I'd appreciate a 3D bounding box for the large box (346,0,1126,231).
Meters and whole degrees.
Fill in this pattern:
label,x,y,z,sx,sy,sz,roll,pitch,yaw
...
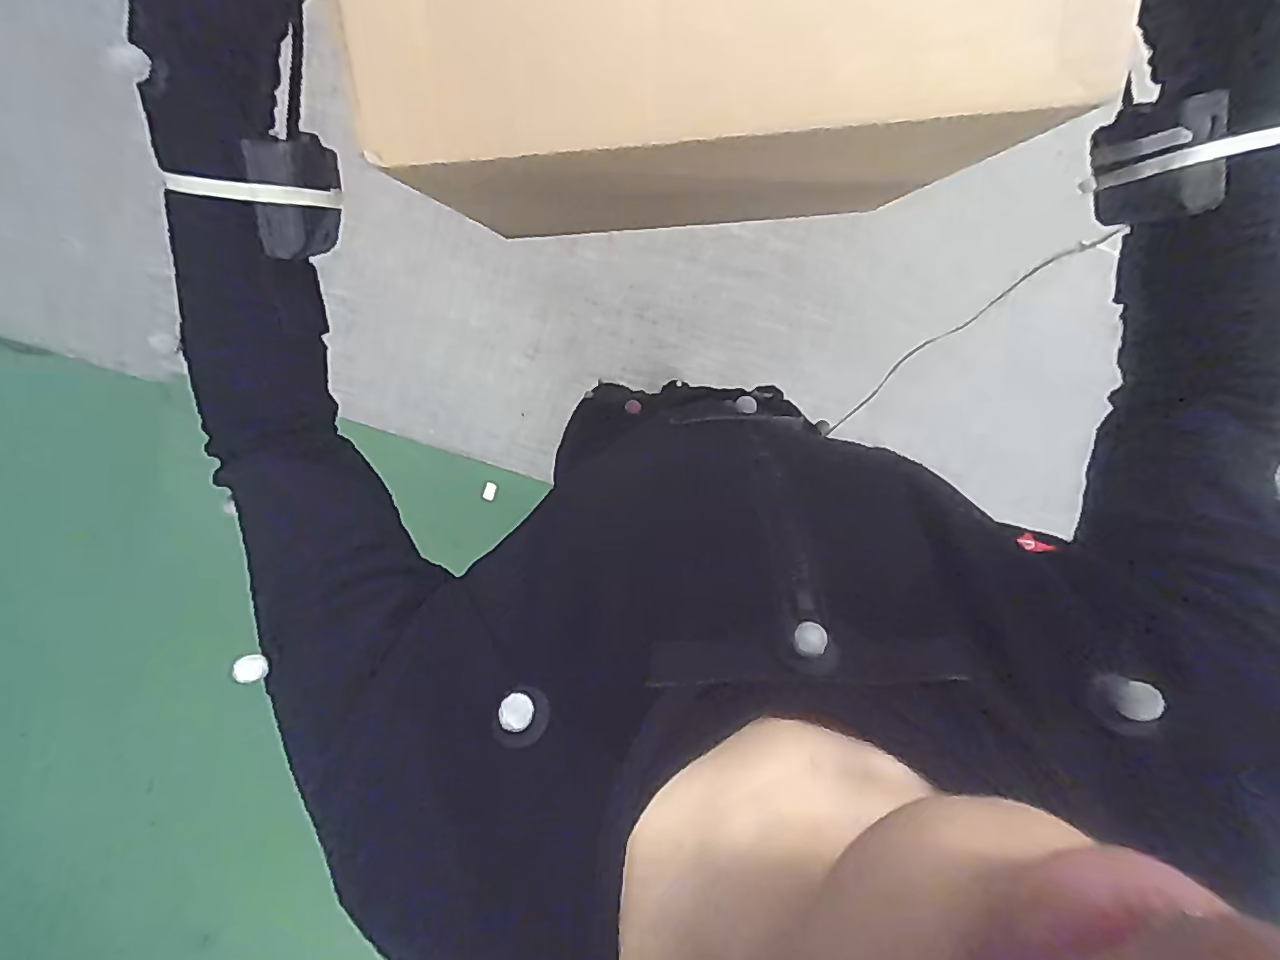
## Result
label,x,y,z,sx,sy,sz,roll,pitch,yaw
large box,0.037,-0.384,0.387,0.408,0.320,0.320,-5,108,1
